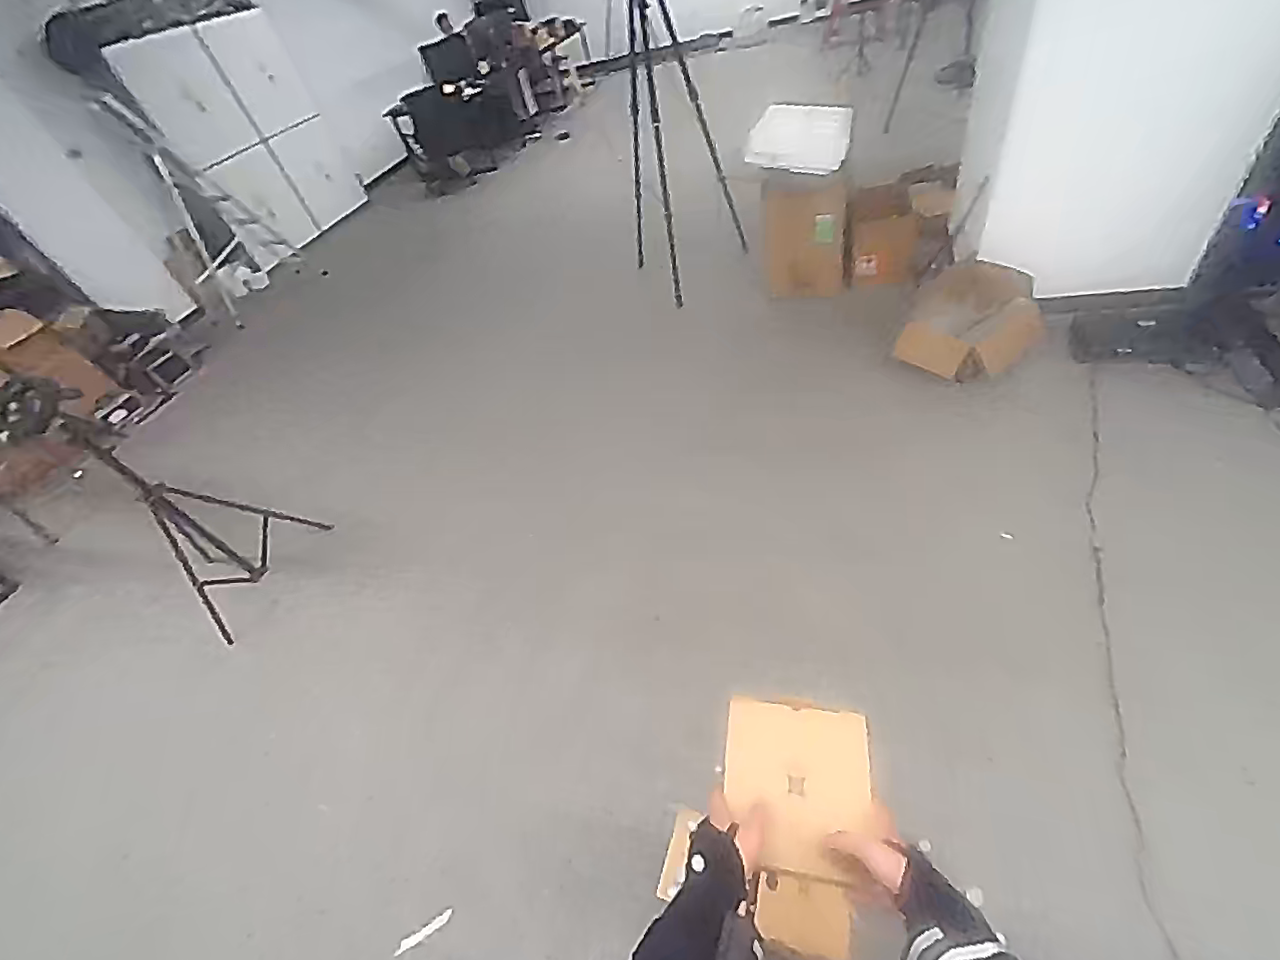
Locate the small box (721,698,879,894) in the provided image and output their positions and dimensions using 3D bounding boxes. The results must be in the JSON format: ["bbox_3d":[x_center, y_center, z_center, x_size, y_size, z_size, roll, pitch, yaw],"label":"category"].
[{"bbox_3d":[0.192,0.399,0.685,0.168,0.176,0.179,3,53,12],"label":"small box"}]
